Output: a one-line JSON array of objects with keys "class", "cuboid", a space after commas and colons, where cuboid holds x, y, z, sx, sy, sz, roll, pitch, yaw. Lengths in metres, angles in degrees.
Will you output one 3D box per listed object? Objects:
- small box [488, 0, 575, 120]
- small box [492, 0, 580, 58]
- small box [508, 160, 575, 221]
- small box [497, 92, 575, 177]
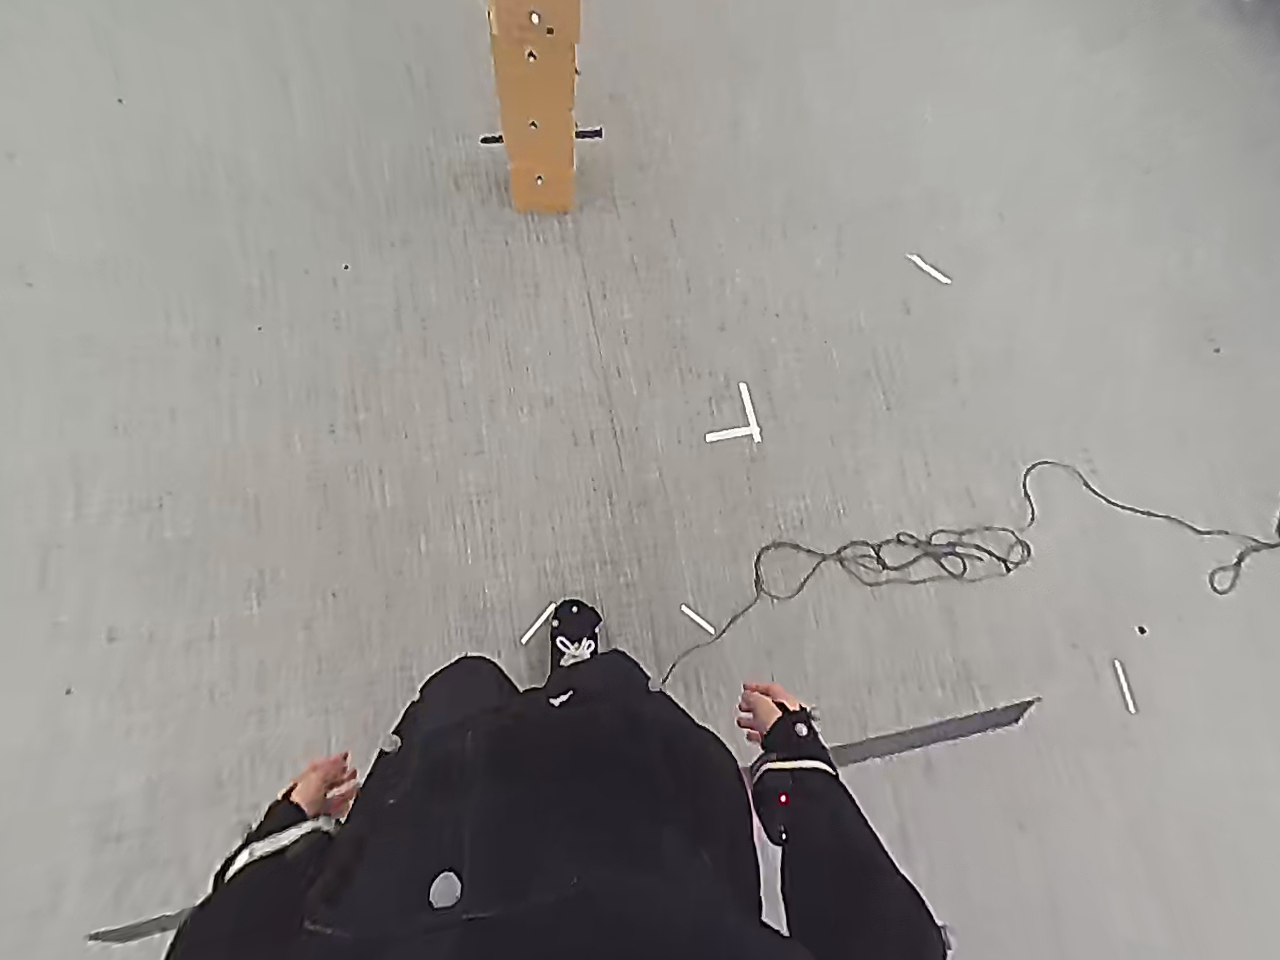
[{"class": "small box", "cuboid": [-0.235, -0.935, 1.199, 0.179, 0.176, 0.168, -1, 79, -8]}, {"class": "small box", "cuboid": [-0.201, -0.968, 1.041, 0.168, 0.176, 0.179, -2, 79, -7]}, {"class": "small box", "cuboid": [-0.274, -0.849, 1.511, 0.179, 0.176, 0.168, -2, 78, -8]}, {"class": "small box", "cuboid": [-0.254, -0.892, 1.353, 0.179, 0.176, 0.168, 1, 78, -7]}]
